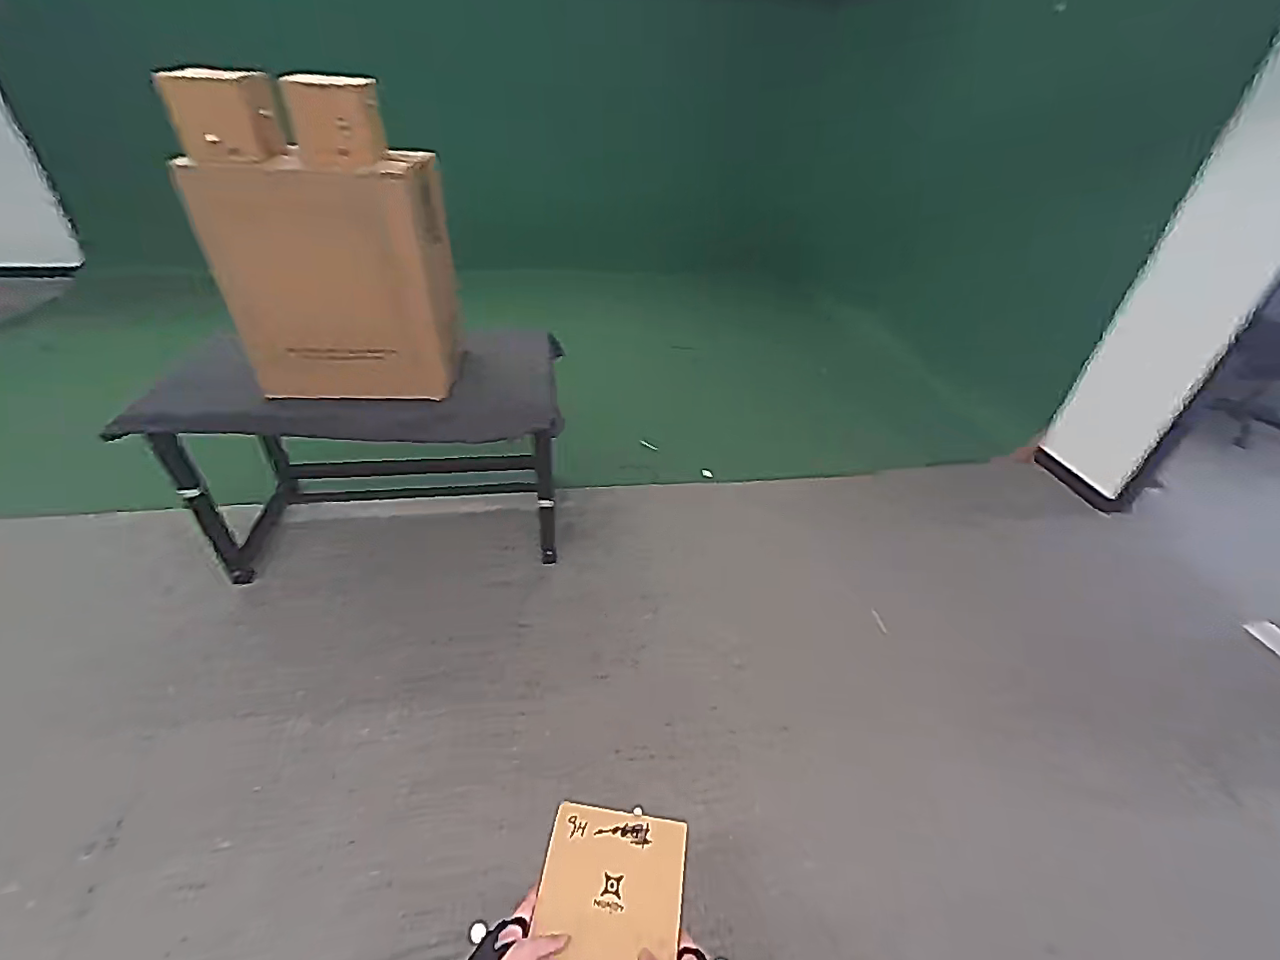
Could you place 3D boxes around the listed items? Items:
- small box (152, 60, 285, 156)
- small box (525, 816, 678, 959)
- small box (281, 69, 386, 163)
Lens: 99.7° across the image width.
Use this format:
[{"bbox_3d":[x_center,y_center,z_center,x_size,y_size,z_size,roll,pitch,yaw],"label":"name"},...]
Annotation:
[{"bbox_3d":[-0.982,-0.883,1.284,0.168,0.176,0.179,0,40,-4],"label":"small box"},{"bbox_3d":[-0.042,0.557,0.682,0.168,0.176,0.179,4,40,3],"label":"small box"},{"bbox_3d":[-0.739,-0.892,1.328,0.168,0.176,0.179,-1,39,-11],"label":"small box"}]
